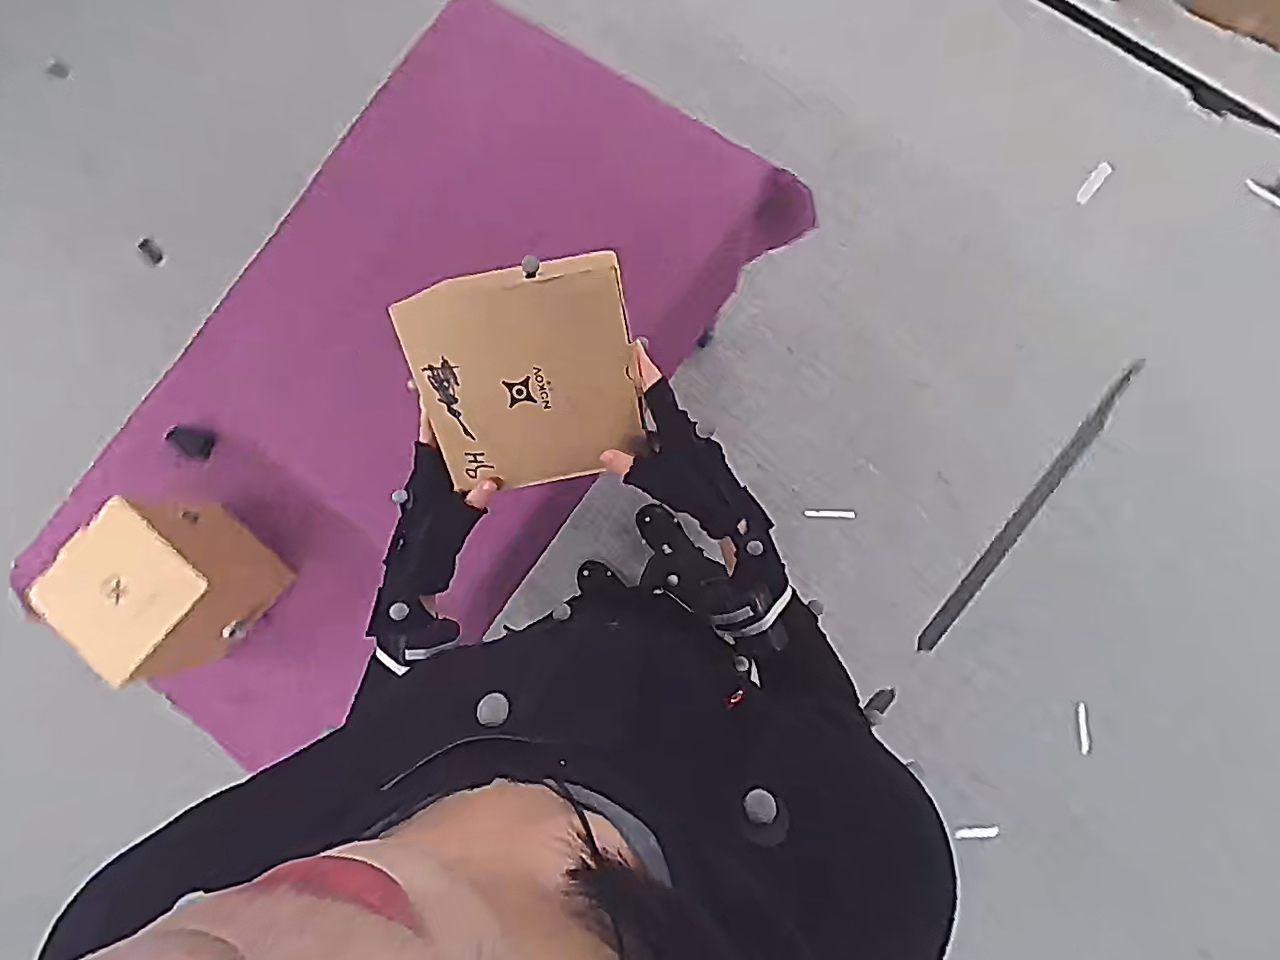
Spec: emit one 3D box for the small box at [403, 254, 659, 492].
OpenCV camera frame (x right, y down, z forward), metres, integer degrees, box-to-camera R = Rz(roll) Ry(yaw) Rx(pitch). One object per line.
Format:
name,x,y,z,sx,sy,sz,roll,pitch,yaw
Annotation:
small box,-0.085,-0.109,0.504,0.179,0.176,0.168,-9,115,0

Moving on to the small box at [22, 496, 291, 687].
small box,-0.639,0.144,0.739,0.179,0.176,0.168,39,87,5
